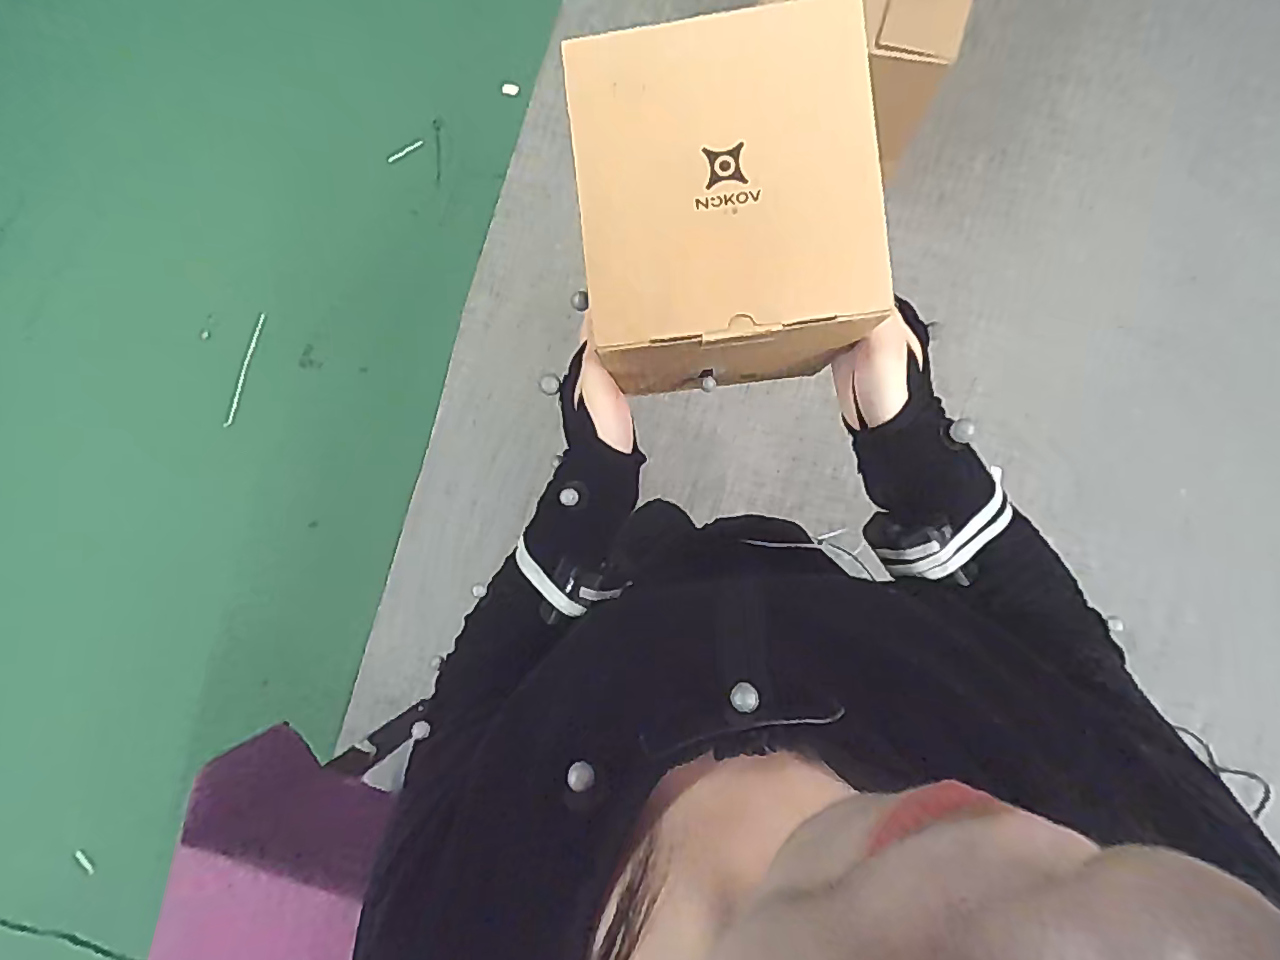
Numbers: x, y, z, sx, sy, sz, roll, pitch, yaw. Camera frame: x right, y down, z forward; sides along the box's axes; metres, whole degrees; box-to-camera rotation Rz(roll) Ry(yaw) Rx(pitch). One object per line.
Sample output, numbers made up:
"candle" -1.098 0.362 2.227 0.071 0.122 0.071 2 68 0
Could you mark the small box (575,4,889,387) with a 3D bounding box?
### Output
"small box" 0.053 -0.170 0.380 0.168 0.176 0.179 -5 92 3
